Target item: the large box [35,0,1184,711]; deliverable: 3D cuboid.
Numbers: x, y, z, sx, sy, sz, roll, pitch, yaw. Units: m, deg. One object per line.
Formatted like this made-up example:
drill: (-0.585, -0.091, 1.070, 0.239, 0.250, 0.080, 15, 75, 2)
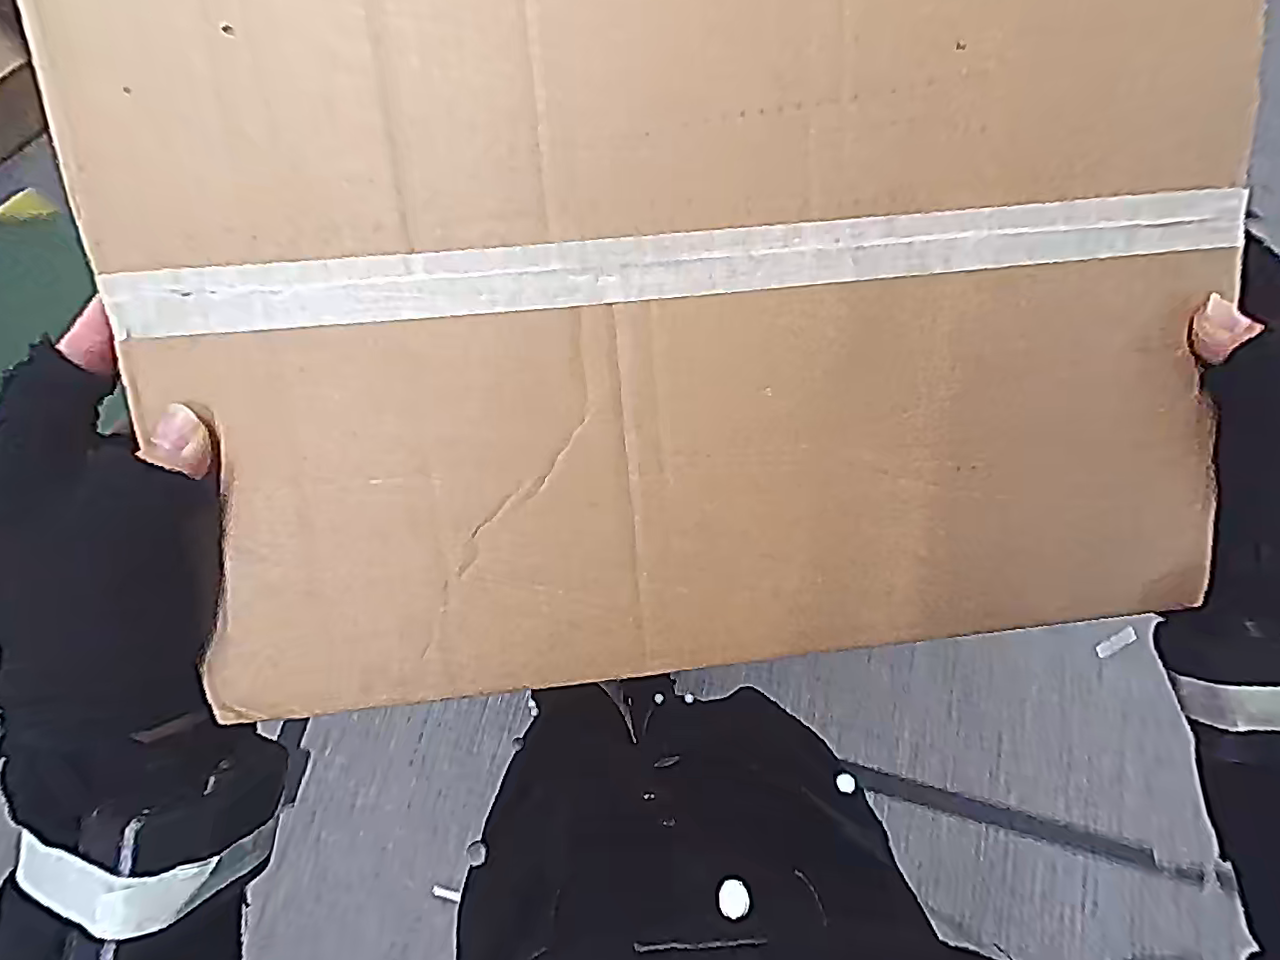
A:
large box: (0.003, -0.107, 0.352, 0.408, 0.320, 0.320, -7, 100, -4)
